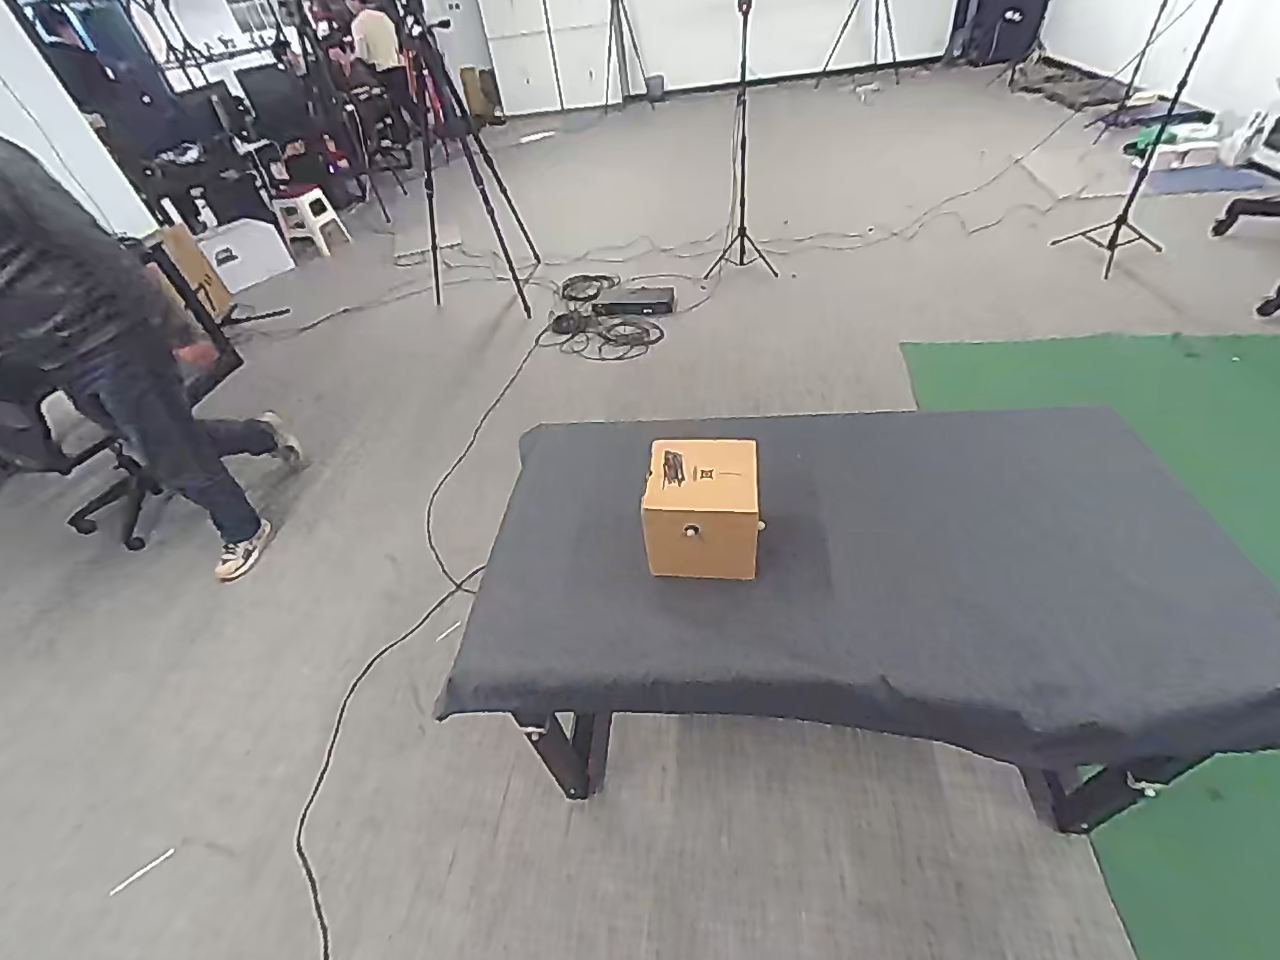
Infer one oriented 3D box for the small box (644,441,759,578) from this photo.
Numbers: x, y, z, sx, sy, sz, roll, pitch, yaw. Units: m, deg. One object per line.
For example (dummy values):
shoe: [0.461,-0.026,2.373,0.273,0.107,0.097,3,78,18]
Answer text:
small box: [0.110,0.051,0.915,0.179,0.176,0.168,1,44,10]
